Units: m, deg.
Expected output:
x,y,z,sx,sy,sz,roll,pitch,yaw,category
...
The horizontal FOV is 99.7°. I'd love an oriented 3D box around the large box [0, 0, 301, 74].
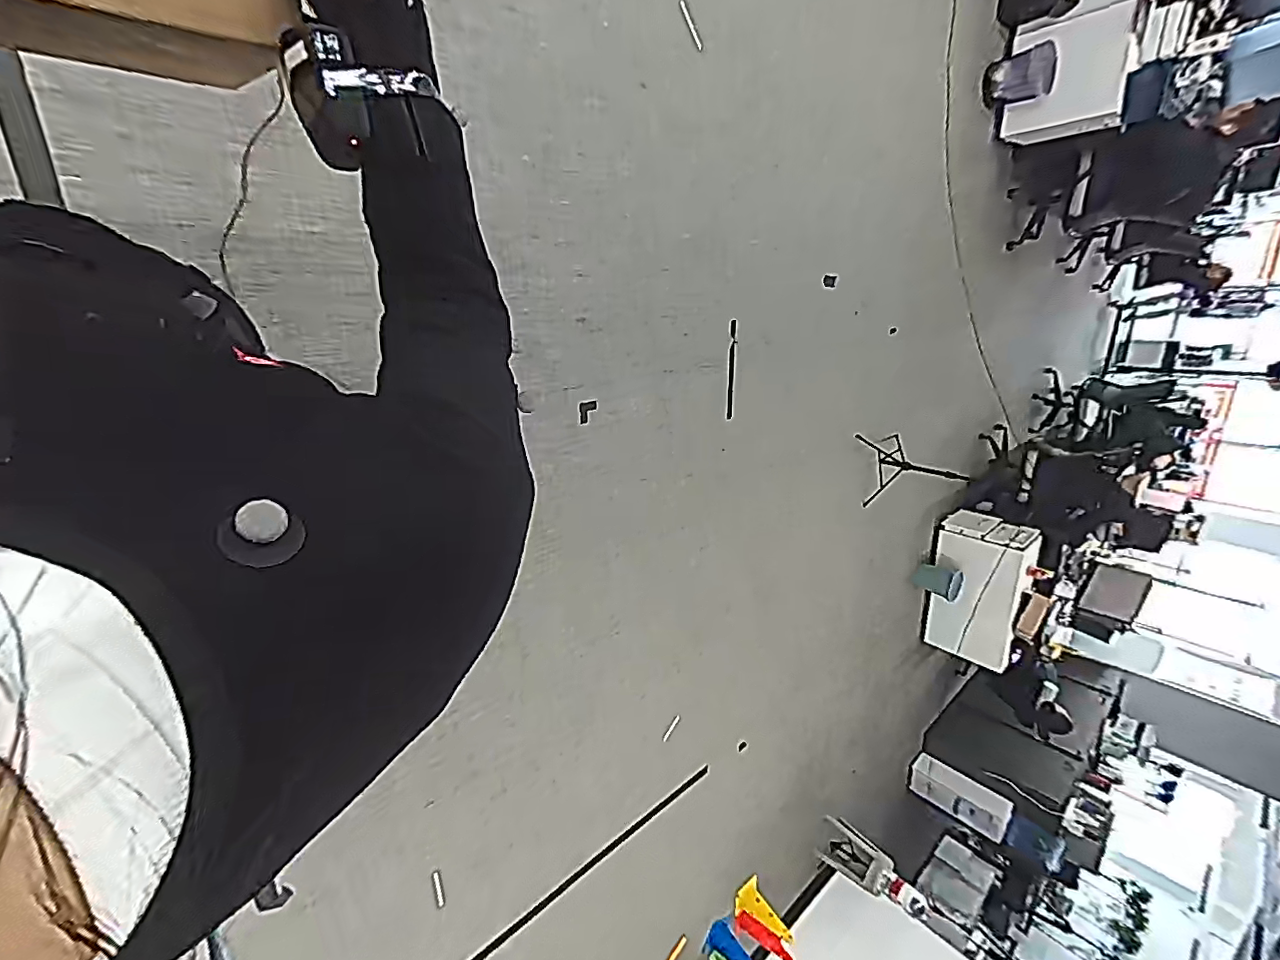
x,y,z,sx,sy,sz,roll,pitch,yaw,category
-0.450,-0.434,0.258,0.408,0.320,0.320,-16,126,-38,large box
